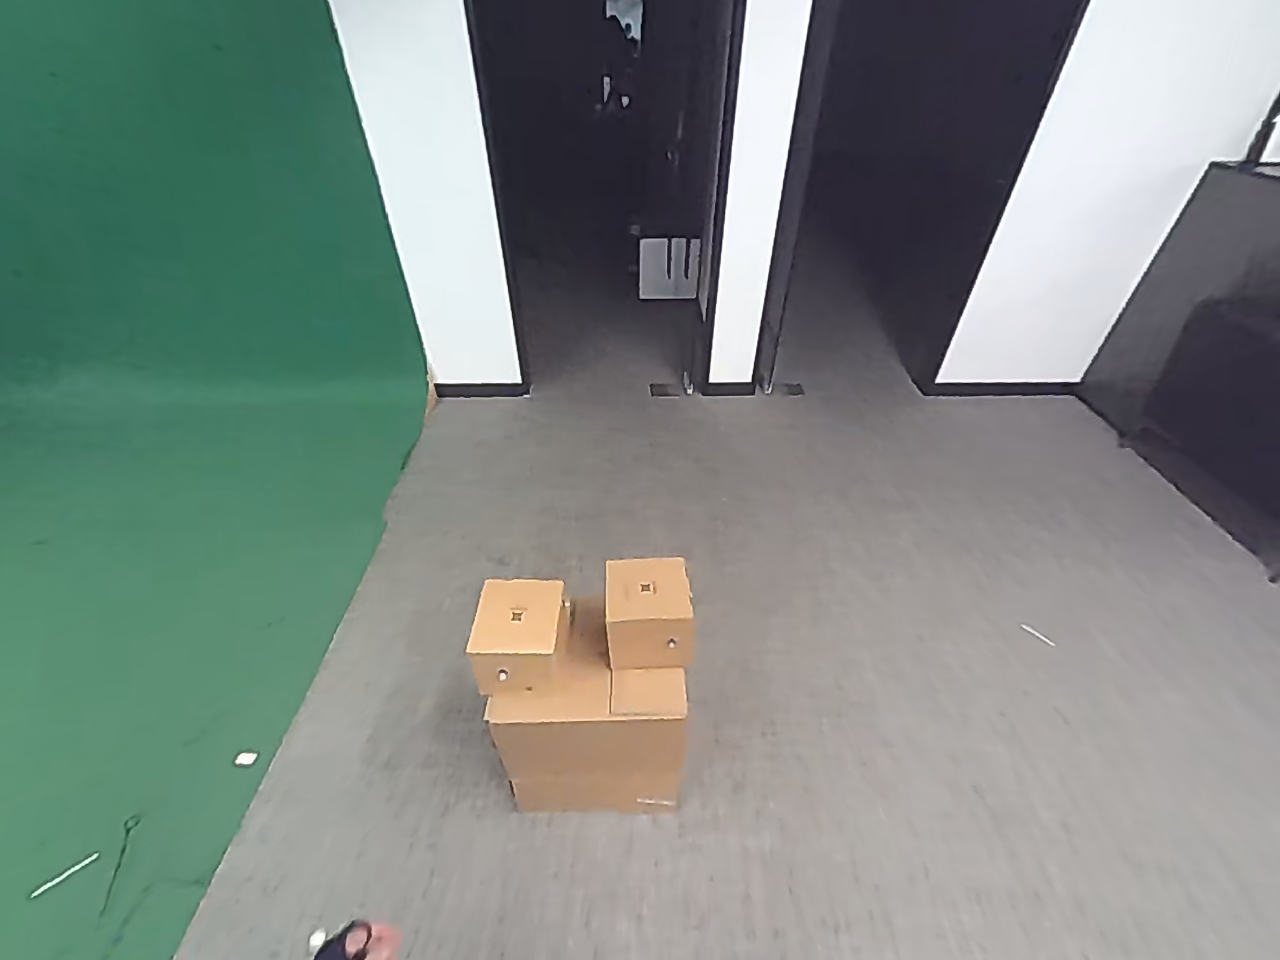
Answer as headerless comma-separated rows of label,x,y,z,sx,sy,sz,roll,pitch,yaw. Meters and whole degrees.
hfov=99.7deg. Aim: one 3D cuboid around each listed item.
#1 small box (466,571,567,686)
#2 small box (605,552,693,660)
small box,-0.246,0.311,1.127,0.168,0.176,0.179,2,42,-1
small box,0.017,0.274,1.175,0.179,0.176,0.168,-2,39,0
